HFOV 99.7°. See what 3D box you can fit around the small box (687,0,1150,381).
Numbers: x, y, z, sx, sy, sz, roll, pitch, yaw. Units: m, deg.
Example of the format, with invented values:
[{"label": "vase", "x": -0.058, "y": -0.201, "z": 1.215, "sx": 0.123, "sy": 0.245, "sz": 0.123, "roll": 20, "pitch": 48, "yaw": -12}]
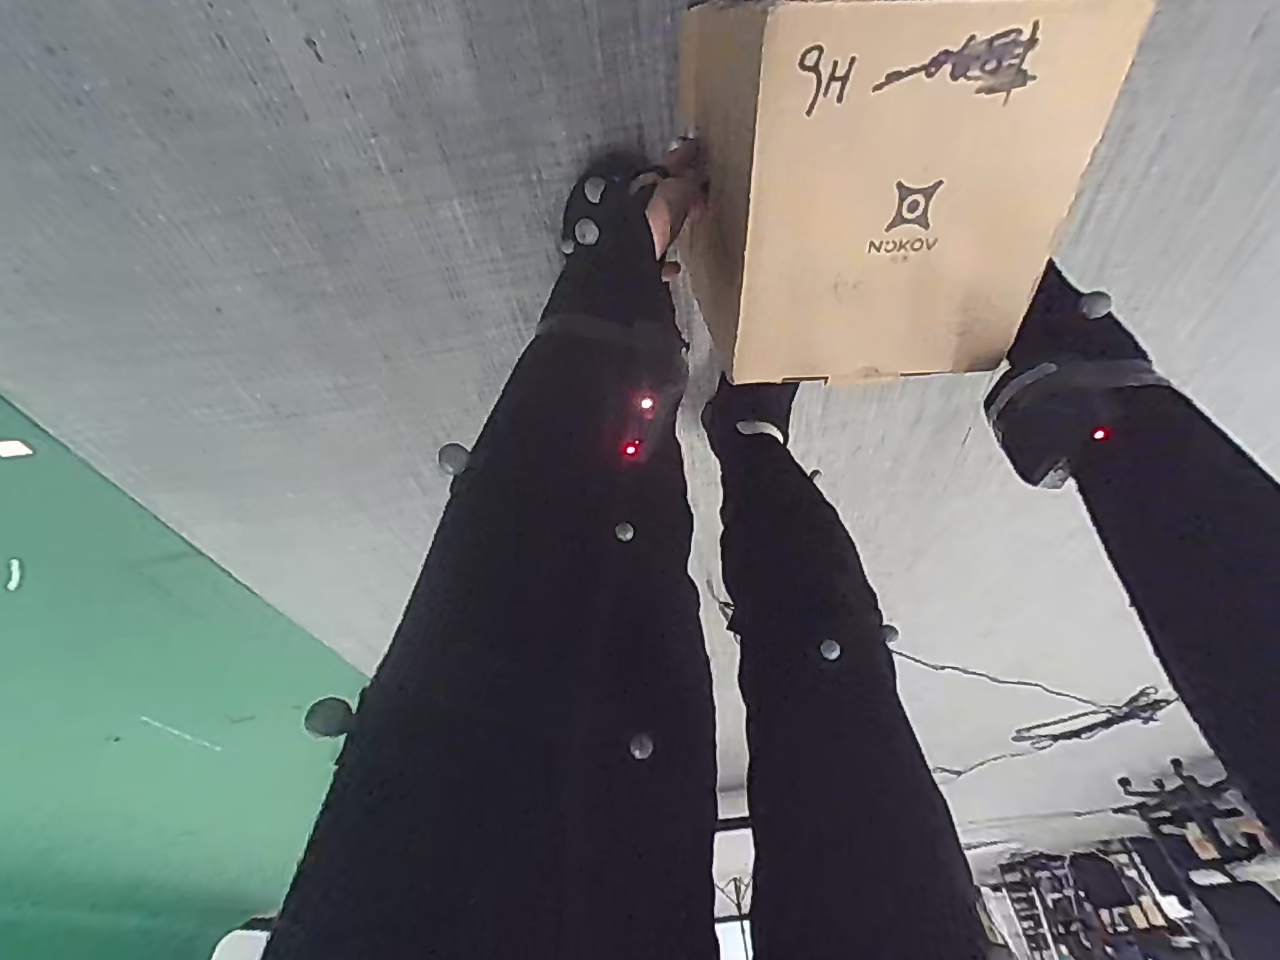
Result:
[{"label": "small box", "x": 0.123, "y": -0.179, "z": 0.330, "sx": 0.168, "sy": 0.176, "sz": 0.179, "roll": -3, "pitch": 129, "yaw": -3}]
